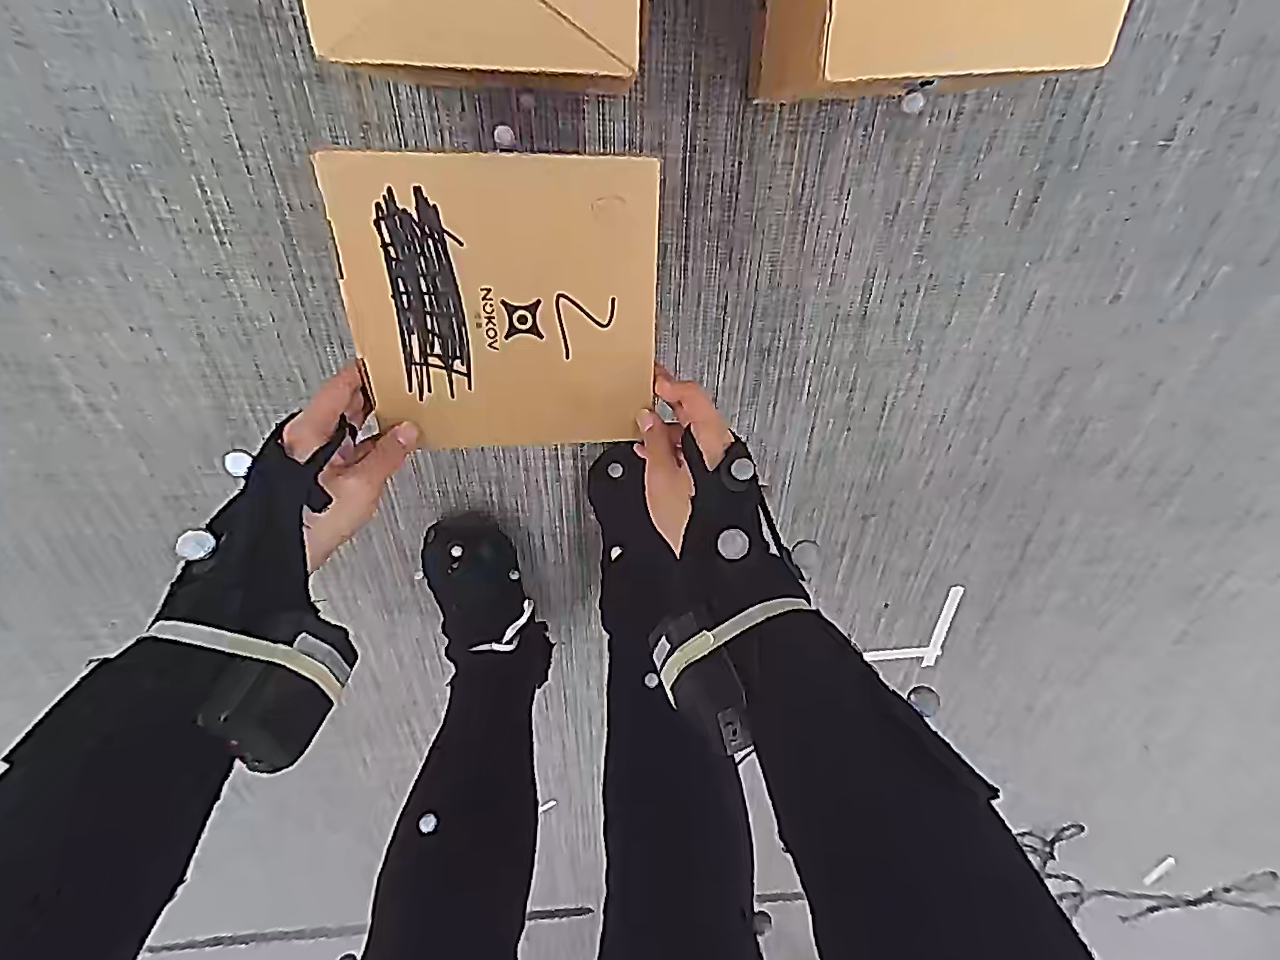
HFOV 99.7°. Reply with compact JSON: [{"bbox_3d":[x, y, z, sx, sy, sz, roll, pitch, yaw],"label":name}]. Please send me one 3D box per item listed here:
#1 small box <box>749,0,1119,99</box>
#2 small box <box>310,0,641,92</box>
[{"bbox_3d":[0.181,-0.352,0.347,0.179,0.176,0.168,-5,123,-2],"label":"small box"},{"bbox_3d":[-0.089,-0.339,0.324,0.179,0.176,0.168,-1,122,-5],"label":"small box"}]
